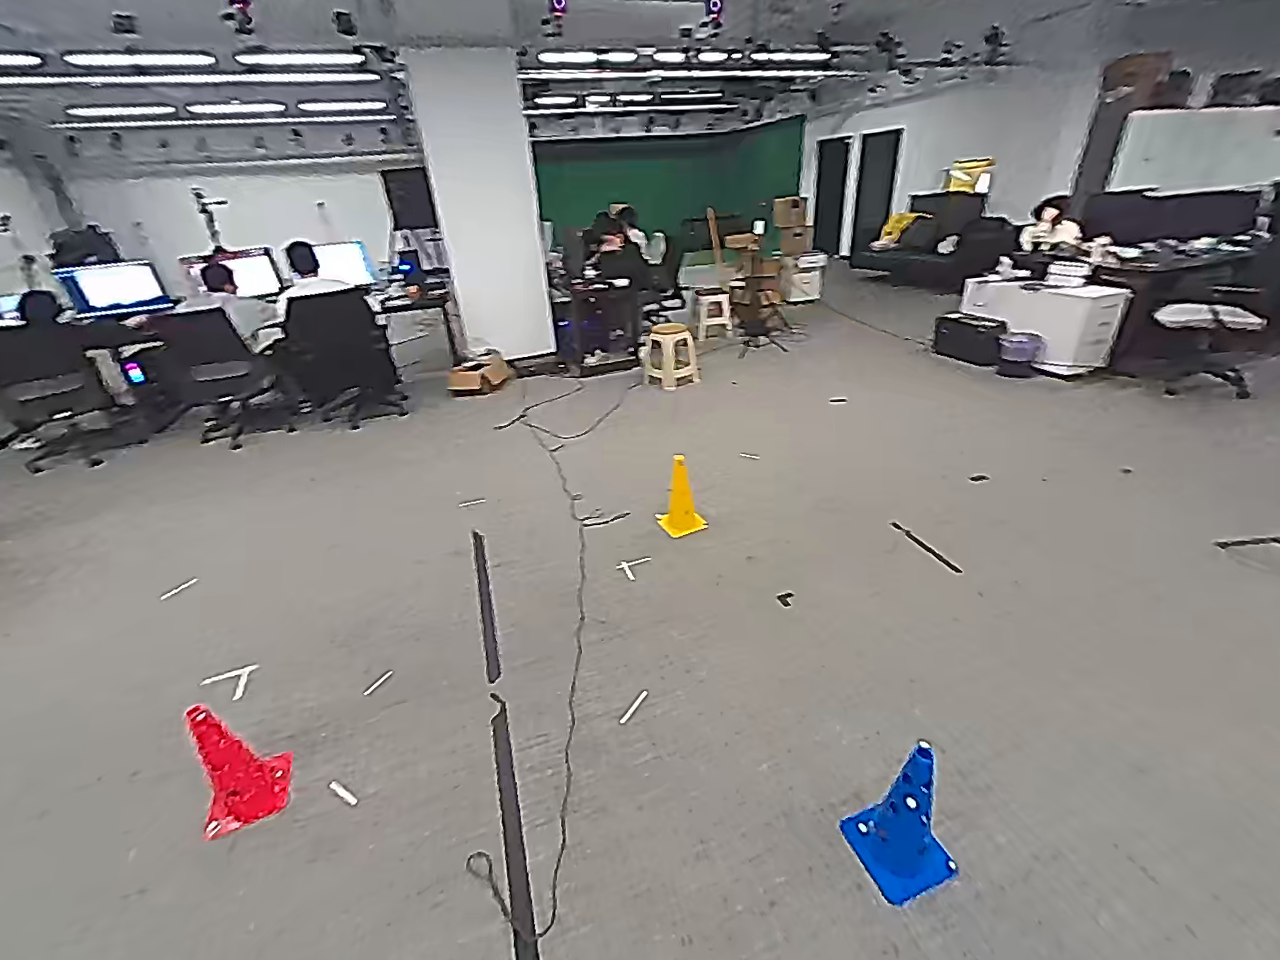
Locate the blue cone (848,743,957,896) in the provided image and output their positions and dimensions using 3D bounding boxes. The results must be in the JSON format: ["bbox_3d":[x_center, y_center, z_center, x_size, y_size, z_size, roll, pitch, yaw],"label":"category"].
[{"bbox_3d":[0.615,0.731,1.220,0.192,0.380,0.193,-11,29,-15],"label":"blue cone"}]

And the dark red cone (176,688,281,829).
[{"bbox_3d":[-1.132,0.708,1.438,0.201,0.394,0.202,-15,30,-22],"label":"dark red cone"}]
